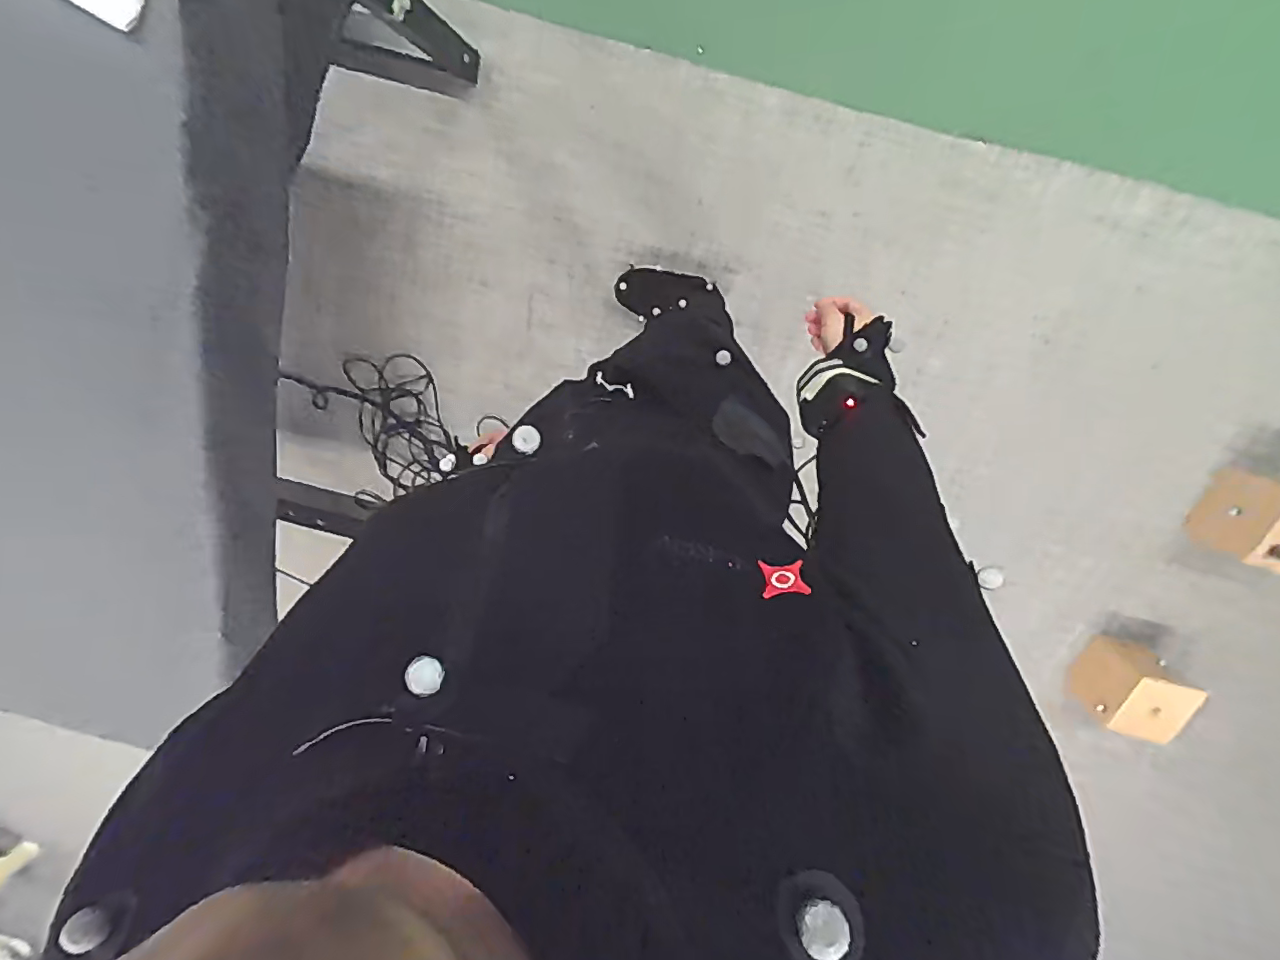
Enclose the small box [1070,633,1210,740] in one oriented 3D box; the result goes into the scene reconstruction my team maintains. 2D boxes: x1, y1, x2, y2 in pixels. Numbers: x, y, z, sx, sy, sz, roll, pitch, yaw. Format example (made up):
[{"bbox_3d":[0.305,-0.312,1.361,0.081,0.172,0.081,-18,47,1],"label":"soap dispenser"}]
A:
[{"bbox_3d":[1.266,0.522,1.387,0.168,0.176,0.179,13,113,1],"label":"small box"}]
